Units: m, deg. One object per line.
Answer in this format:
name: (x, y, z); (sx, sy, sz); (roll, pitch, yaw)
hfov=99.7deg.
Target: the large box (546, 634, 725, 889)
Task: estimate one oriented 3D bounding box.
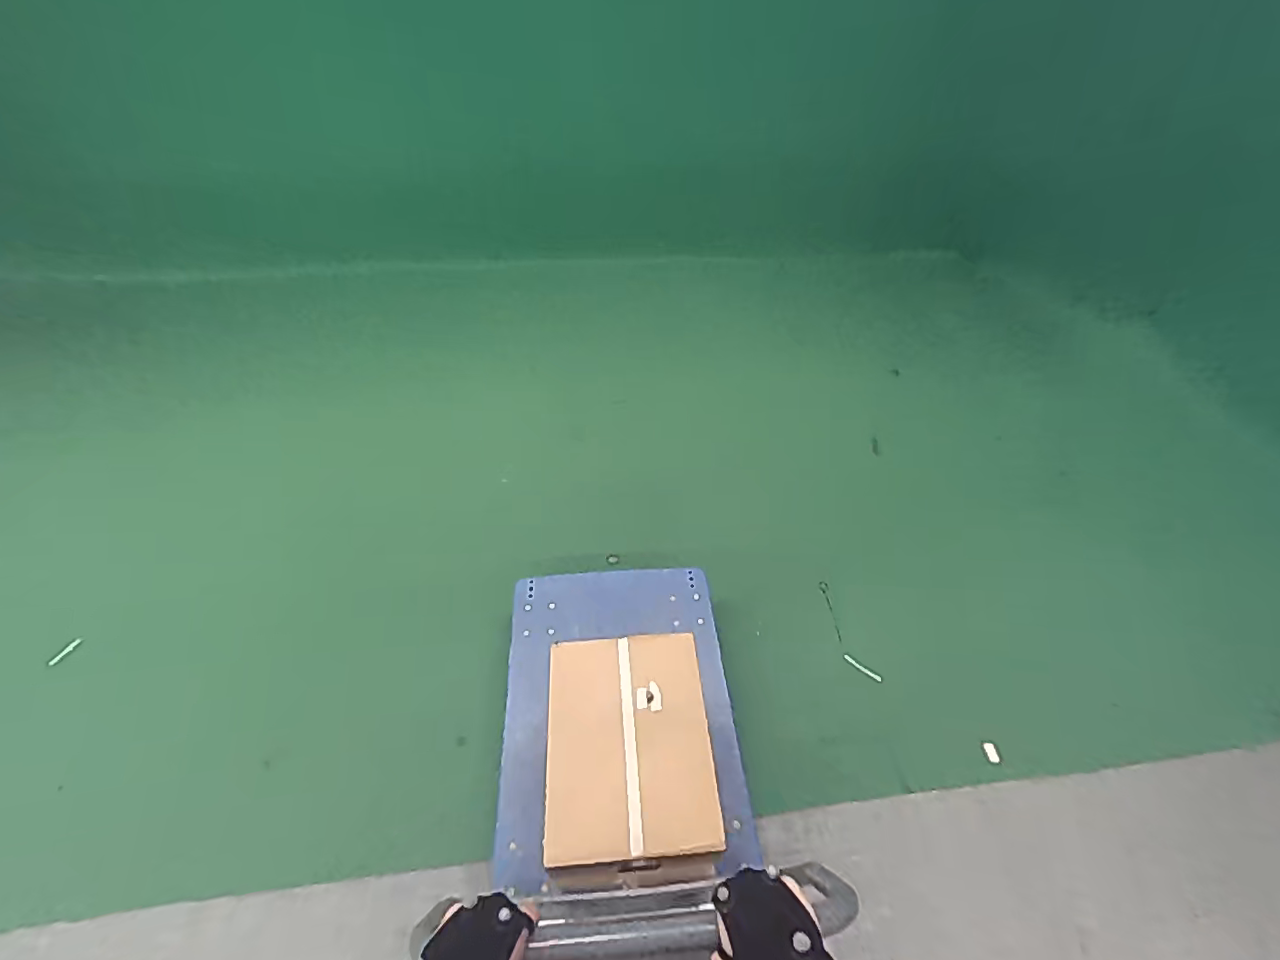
large box: (-0.022, 0.594, 1.157); (0.320, 0.320, 0.408); (-2, 46, -4)
